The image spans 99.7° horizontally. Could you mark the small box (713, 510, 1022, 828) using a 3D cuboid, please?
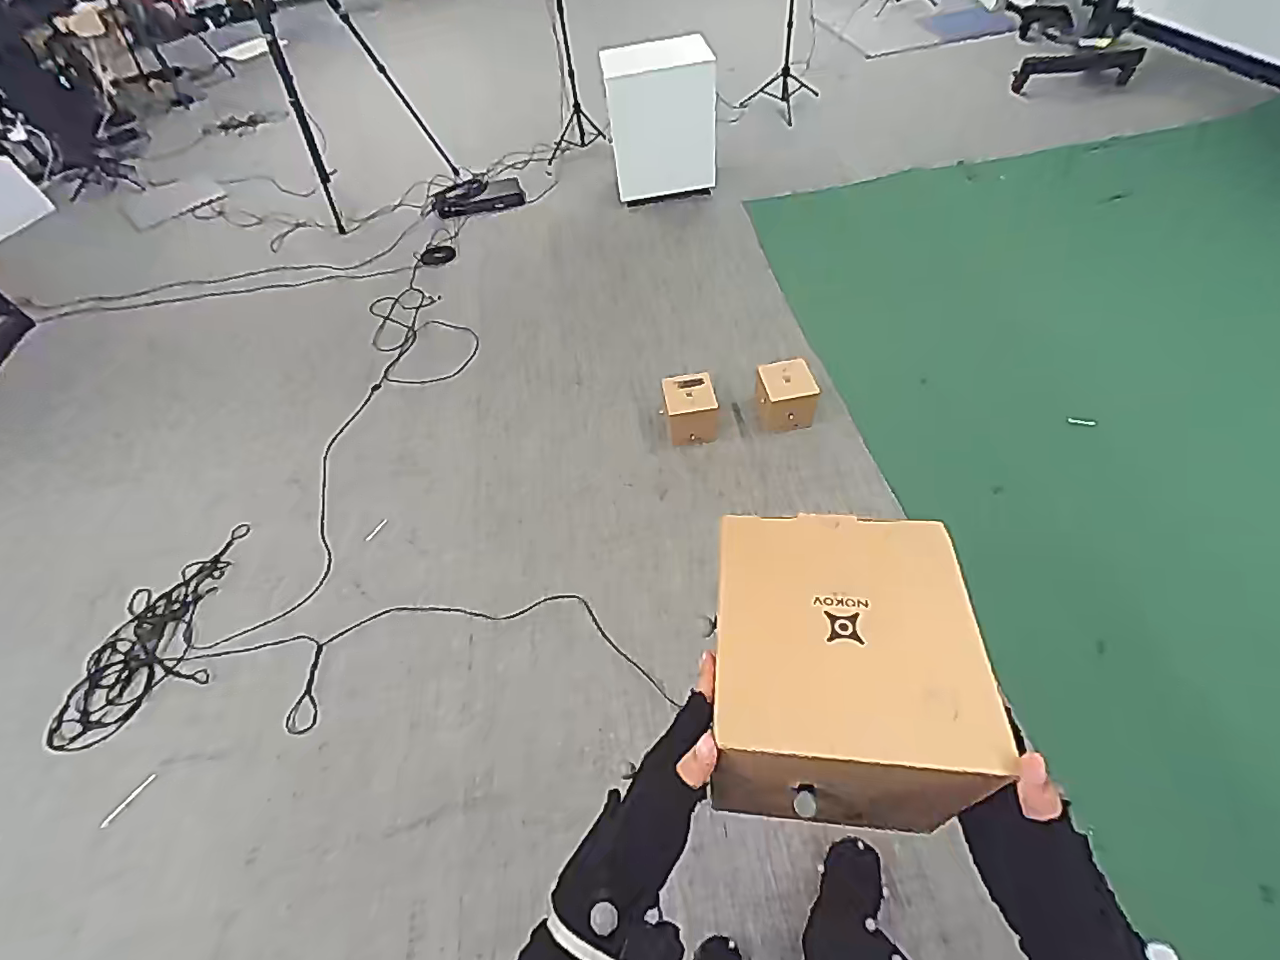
[{"bbox_3d":[0.142,0.143,0.411,0.168,0.176,0.179,1,46,9],"label":"small box"}]

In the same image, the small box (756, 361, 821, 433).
[{"bbox_3d":[0.506,-0.280,1.868,0.168,0.176,0.179,-10,53,-1],"label":"small box"}]
